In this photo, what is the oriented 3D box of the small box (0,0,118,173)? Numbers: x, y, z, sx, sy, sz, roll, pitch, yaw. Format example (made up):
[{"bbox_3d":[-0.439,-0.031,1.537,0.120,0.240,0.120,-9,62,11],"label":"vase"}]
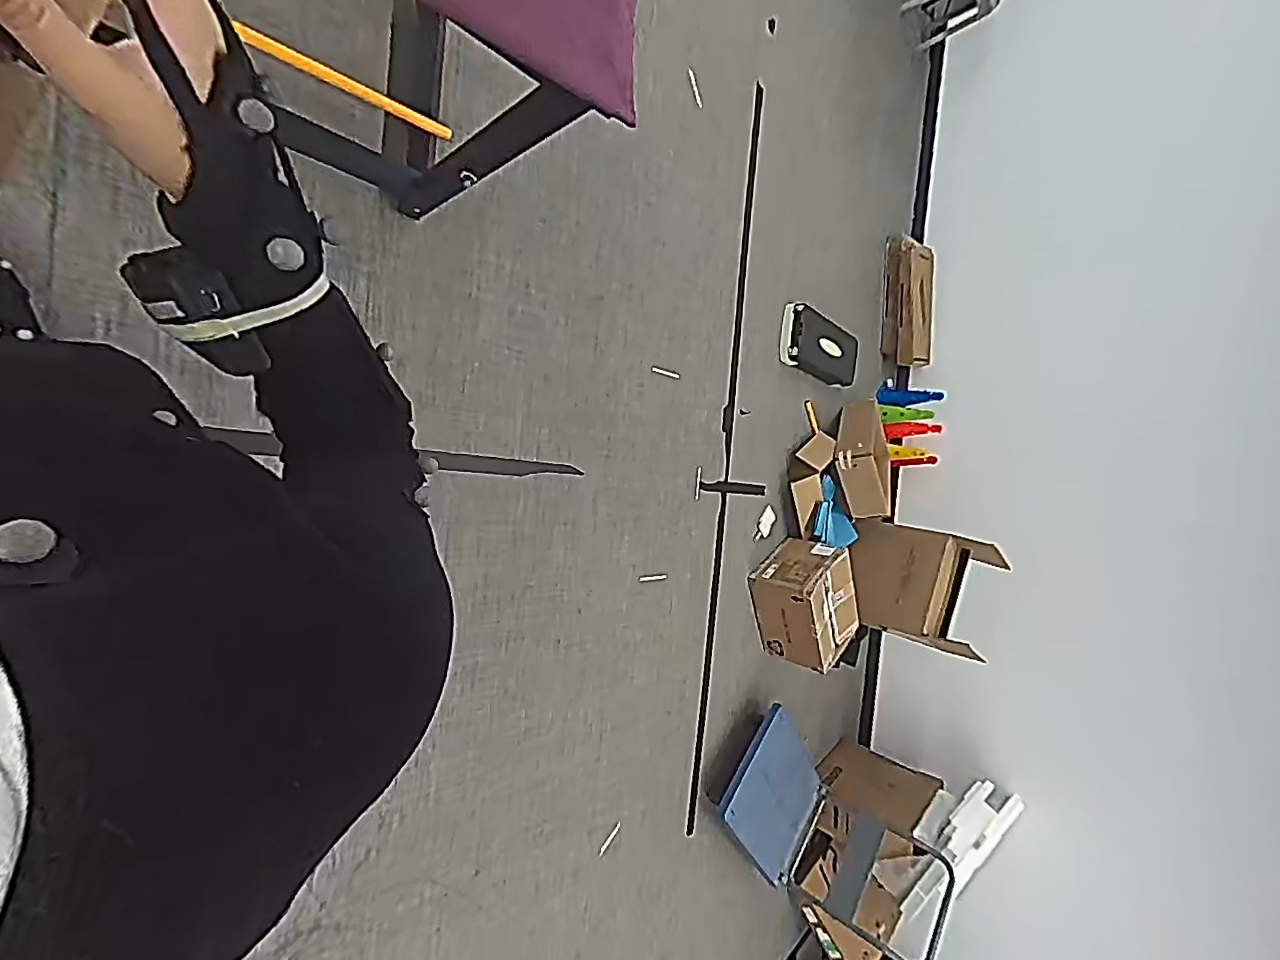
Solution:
[{"bbox_3d":[-0.318,-0.222,0.176,0.179,0.176,0.168,30,82,-40],"label":"small box"}]
